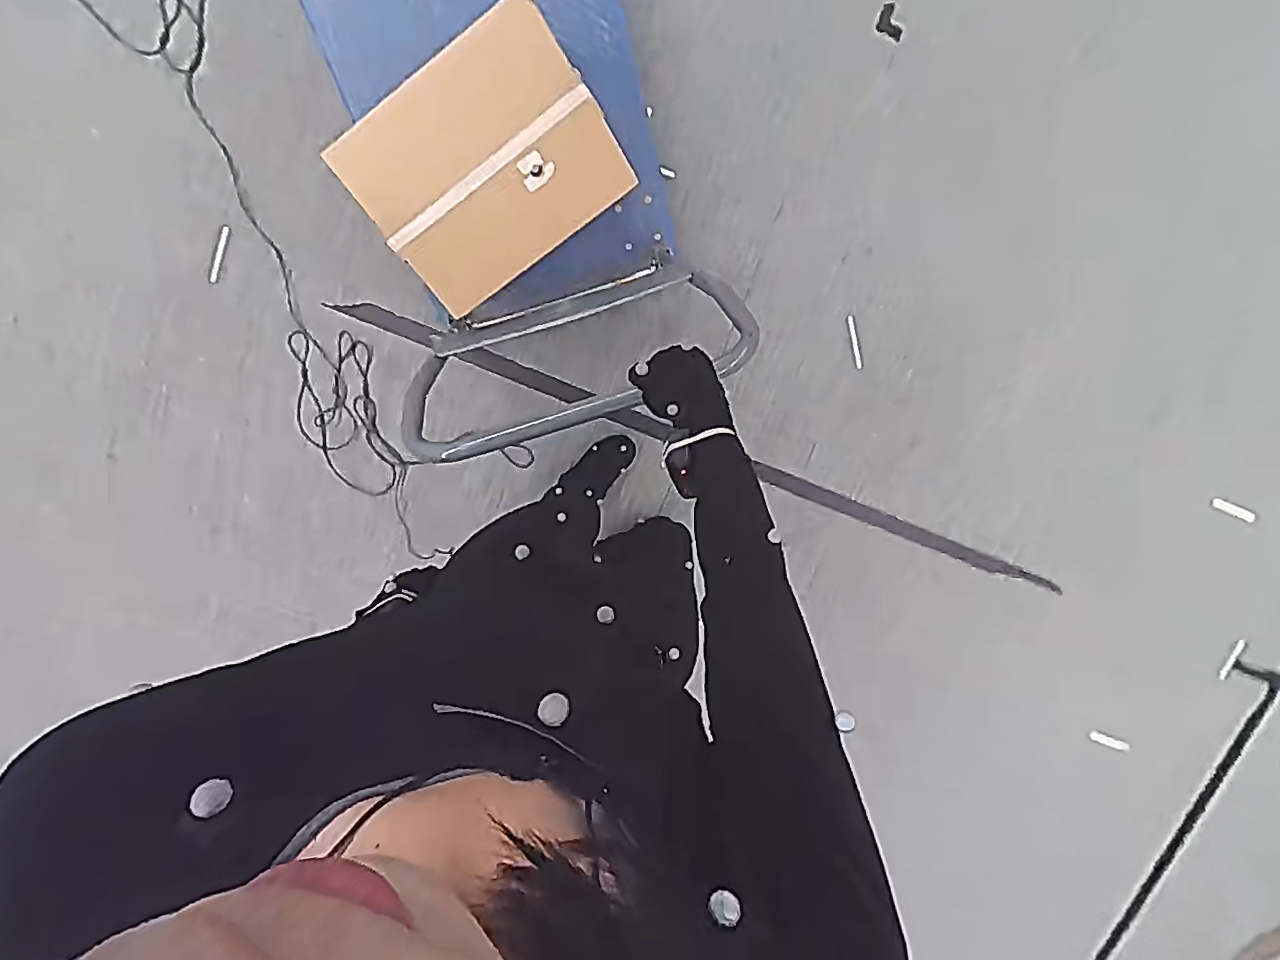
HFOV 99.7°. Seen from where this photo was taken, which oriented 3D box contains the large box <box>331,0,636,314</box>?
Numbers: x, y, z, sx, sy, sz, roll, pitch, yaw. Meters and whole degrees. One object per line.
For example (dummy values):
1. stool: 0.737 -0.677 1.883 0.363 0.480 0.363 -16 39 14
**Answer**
1. large box: -0.270 -0.576 1.022 0.408 0.320 0.320 -35 115 7
